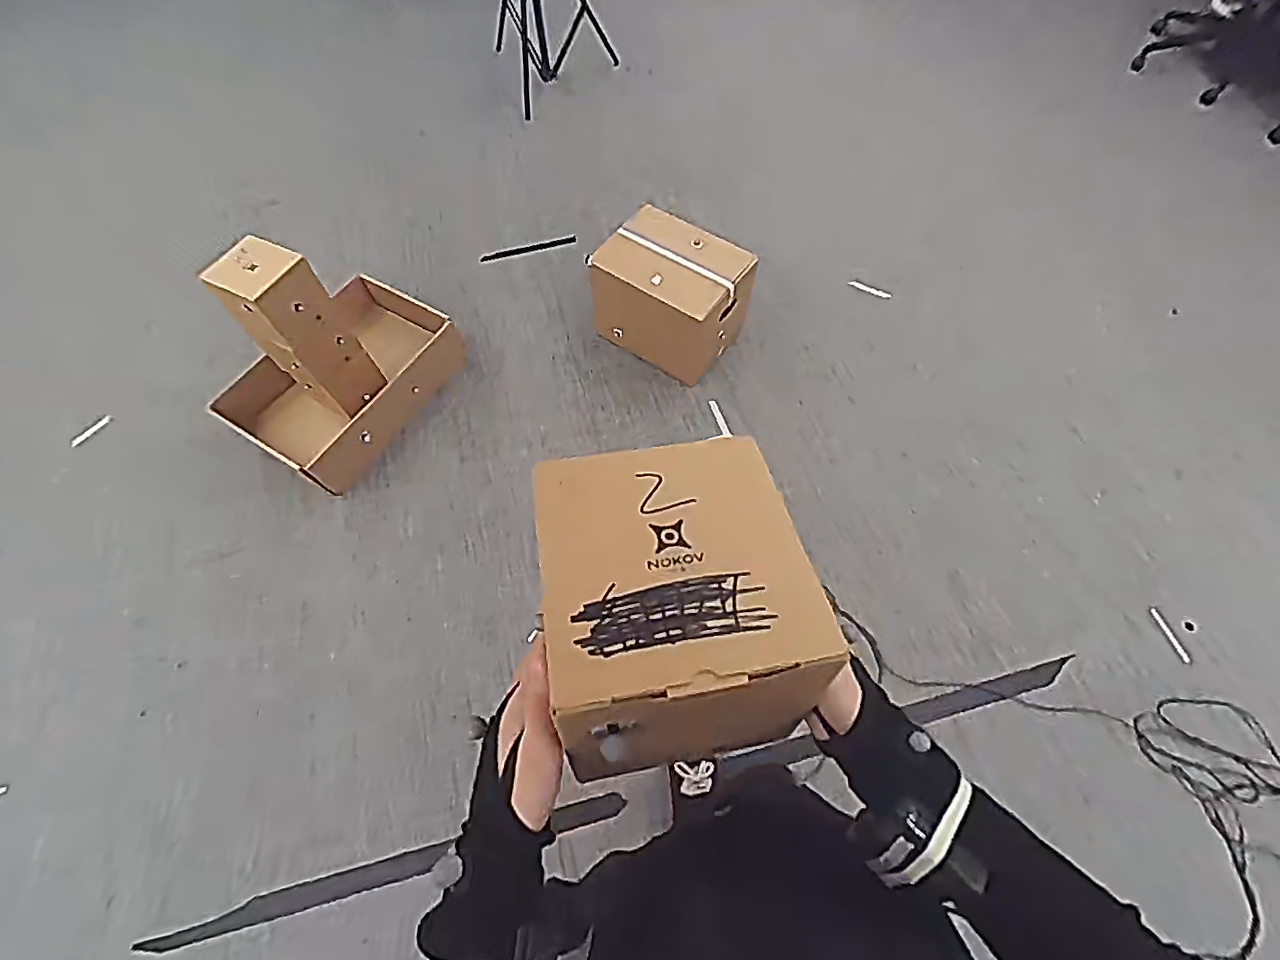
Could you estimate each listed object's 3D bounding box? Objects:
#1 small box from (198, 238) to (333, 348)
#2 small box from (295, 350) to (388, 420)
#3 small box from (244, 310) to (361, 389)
[{"bbox_3d":[-0.911,-0.455,1.336,0.179,0.176,0.168,24,64,12],"label":"small box"},{"bbox_3d":[-0.906,-0.308,1.629,0.179,0.176,0.168,28,67,13],"label":"small box"},{"bbox_3d":[-0.913,-0.377,1.482,0.179,0.176,0.168,23,65,13],"label":"small box"}]
